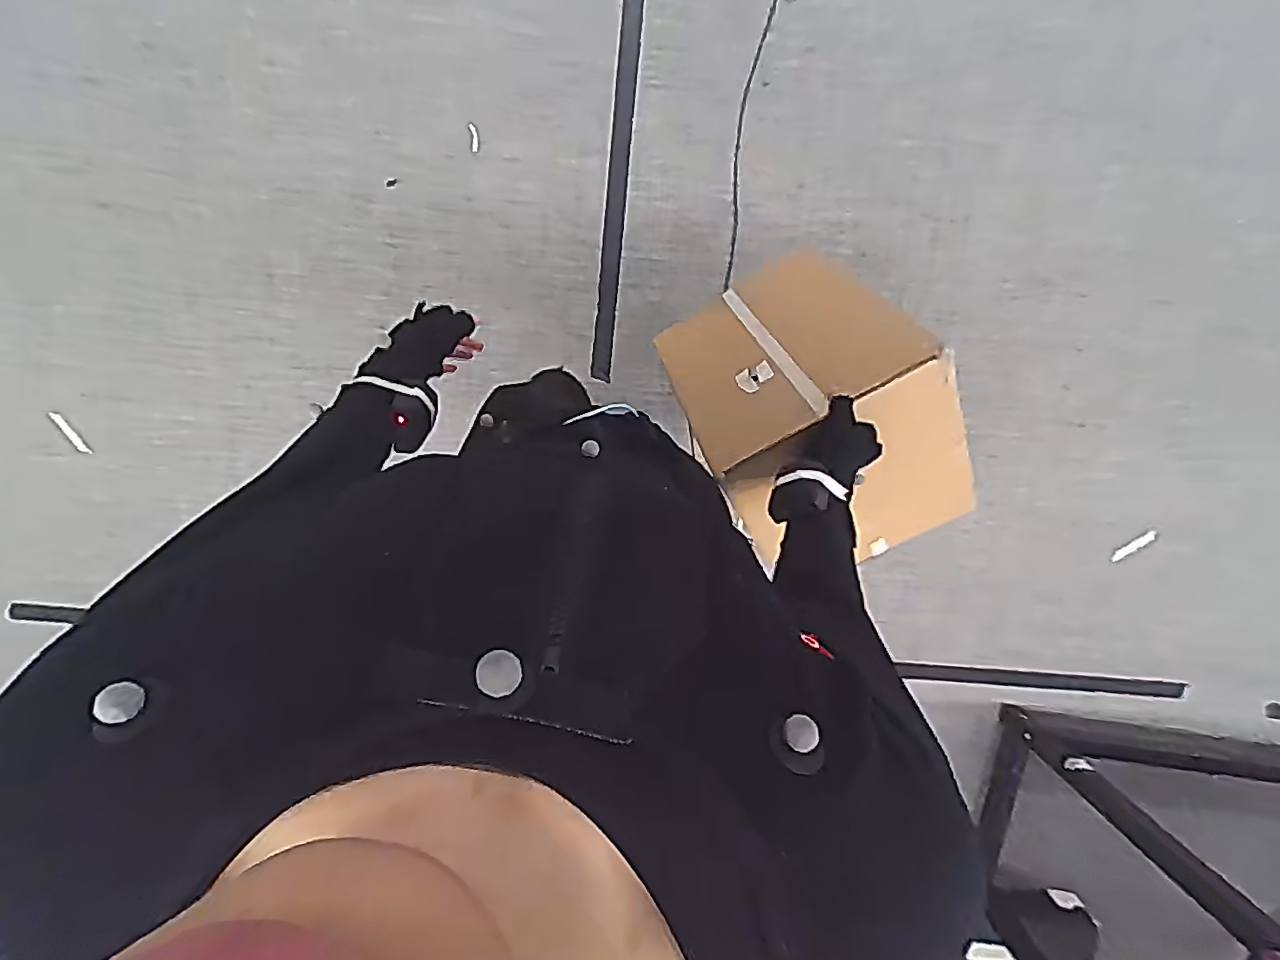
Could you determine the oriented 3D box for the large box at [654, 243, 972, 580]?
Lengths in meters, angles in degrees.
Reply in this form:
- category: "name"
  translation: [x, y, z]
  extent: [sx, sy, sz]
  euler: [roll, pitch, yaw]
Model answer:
- category: "large box"
  translation: [0.267, -0.118, 0.901]
  extent: [0.320, 0.408, 0.320]
  euler: [-32, 131, 13]
